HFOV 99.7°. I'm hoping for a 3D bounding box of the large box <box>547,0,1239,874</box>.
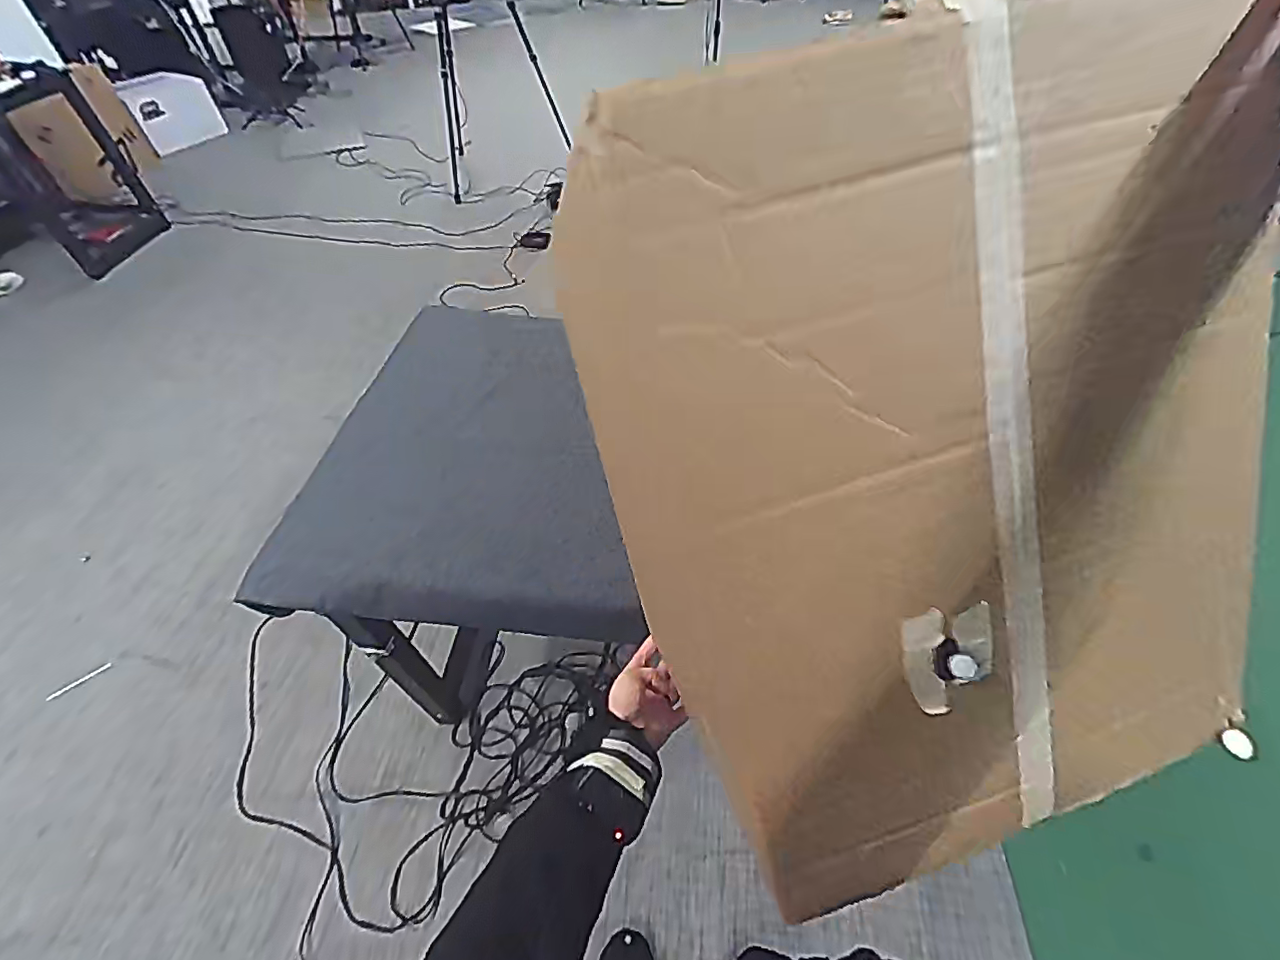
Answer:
[{"bbox_3d":[0.147,-0.030,0.421,0.320,0.408,0.320,-19,19,-8],"label":"large box"}]
